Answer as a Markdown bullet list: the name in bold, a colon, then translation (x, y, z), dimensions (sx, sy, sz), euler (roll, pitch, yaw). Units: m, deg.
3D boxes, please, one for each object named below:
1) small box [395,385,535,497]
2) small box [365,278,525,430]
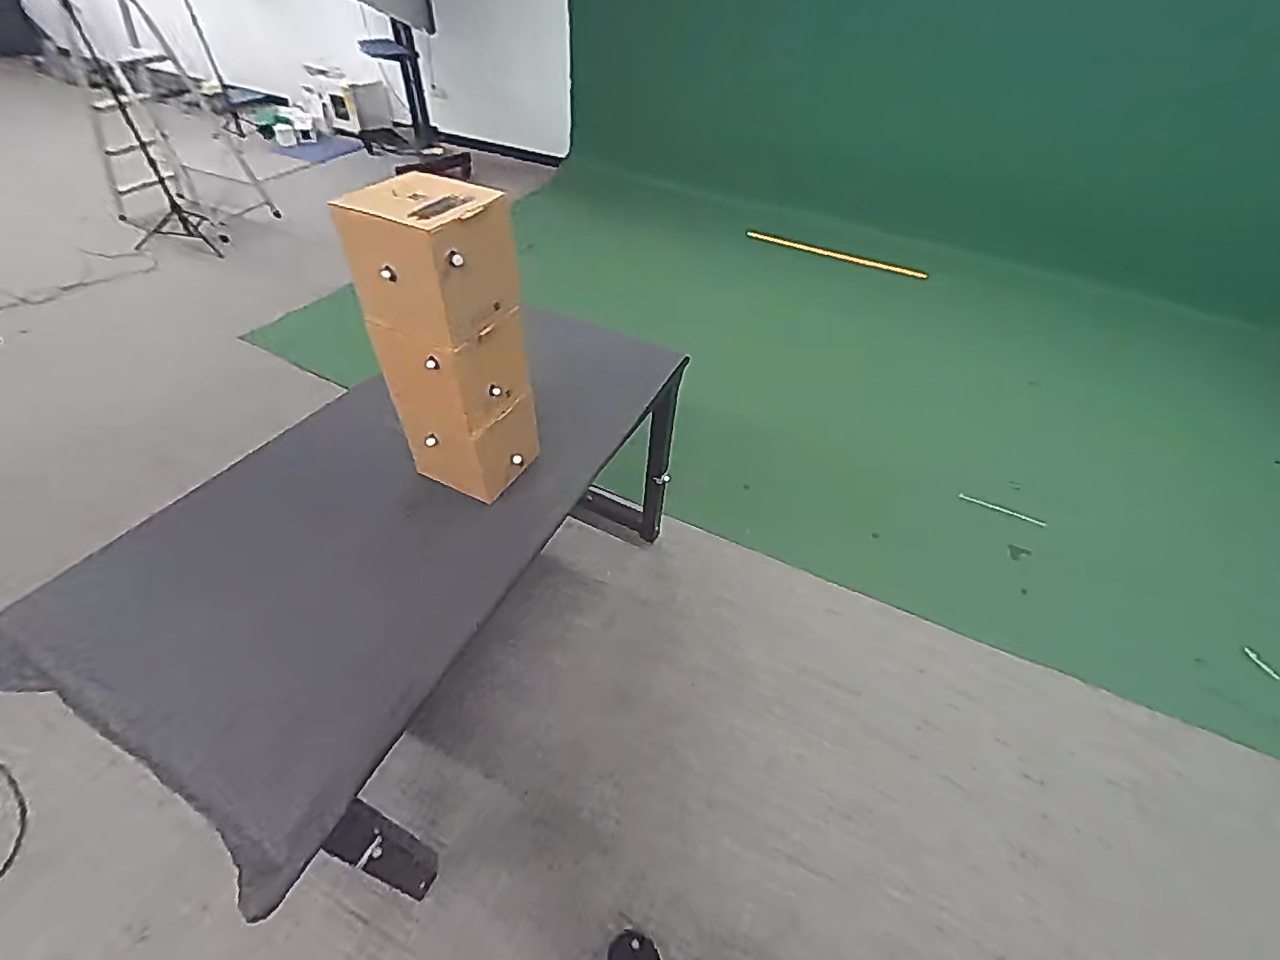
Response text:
- **small box**: translation (-0.318, -0.095, 1.019), dimensions (0.179, 0.176, 0.168), euler (22, 49, 16)
- **small box**: translation (-0.314, -0.209, 0.904), dimensions (0.179, 0.176, 0.168), euler (22, 48, 16)
